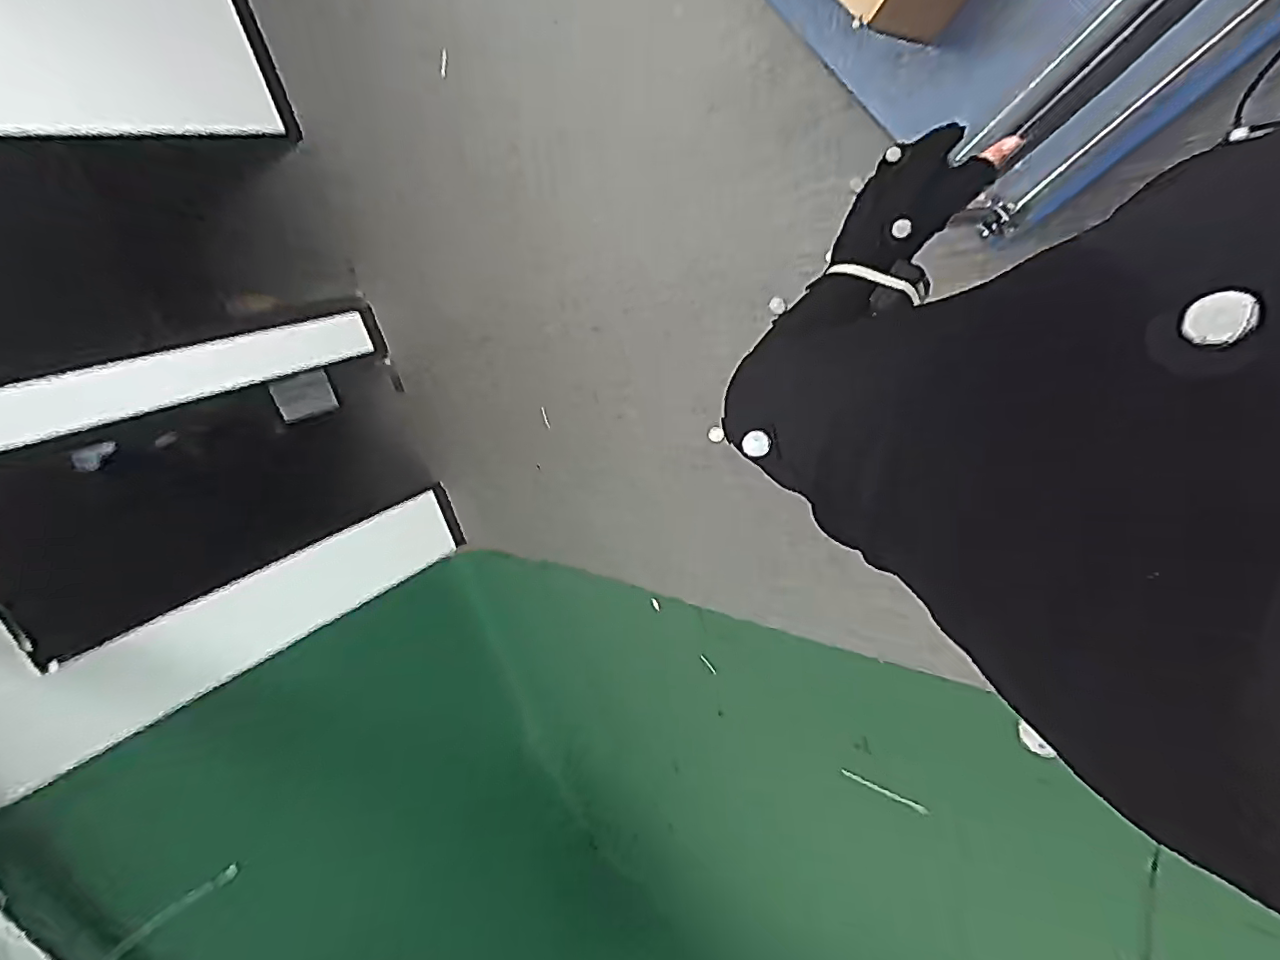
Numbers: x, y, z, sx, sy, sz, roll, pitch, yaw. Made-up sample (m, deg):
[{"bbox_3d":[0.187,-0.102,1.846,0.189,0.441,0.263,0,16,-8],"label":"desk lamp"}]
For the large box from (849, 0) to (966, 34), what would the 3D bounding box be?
[{"bbox_3d":[0.427,-0.943,0.747,0.320,0.320,0.408,52,142,8],"label":"large box"}]
